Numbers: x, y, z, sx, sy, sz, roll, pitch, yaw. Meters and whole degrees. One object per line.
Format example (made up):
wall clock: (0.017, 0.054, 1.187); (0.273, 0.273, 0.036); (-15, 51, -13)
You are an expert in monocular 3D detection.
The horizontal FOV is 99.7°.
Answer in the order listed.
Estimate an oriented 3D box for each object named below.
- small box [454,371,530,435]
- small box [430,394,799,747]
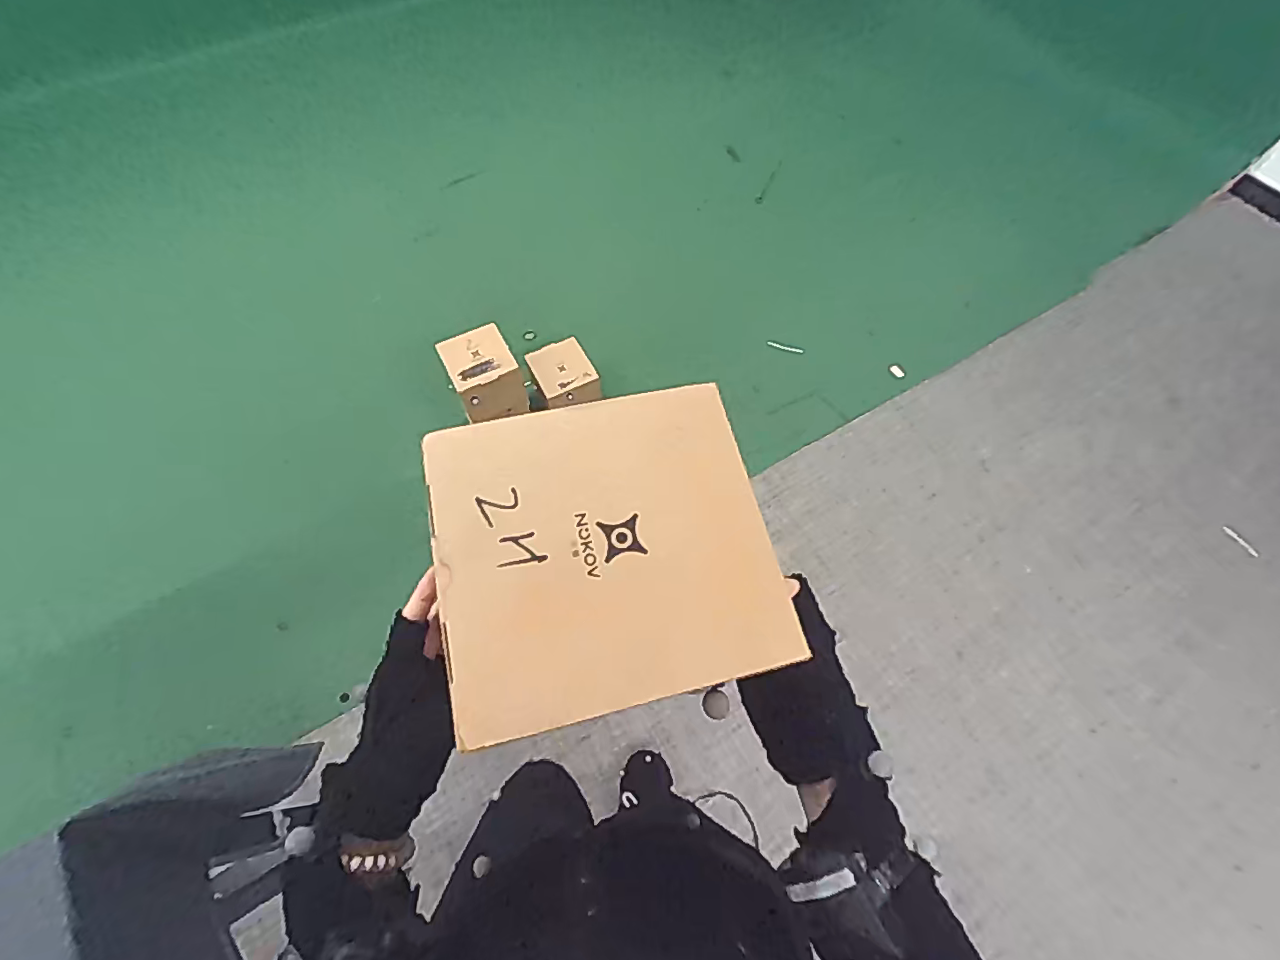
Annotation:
small box: (-0.426, -0.184, 1.606); (0.168, 0.176, 0.179); (-24, 66, -12)
small box: (-0.024, 0.067, 0.368); (0.179, 0.176, 0.168); (-12, 68, -9)
